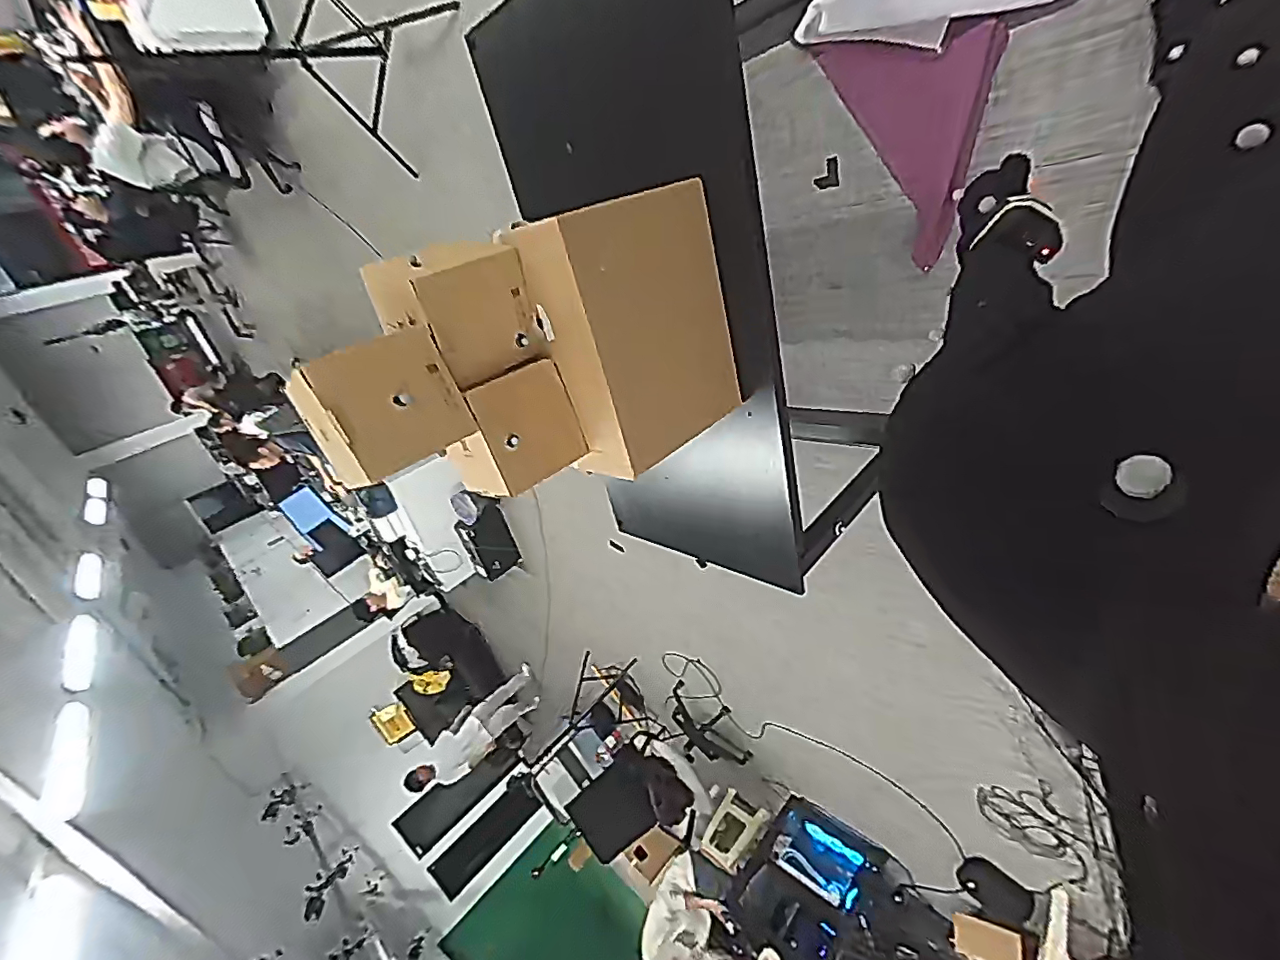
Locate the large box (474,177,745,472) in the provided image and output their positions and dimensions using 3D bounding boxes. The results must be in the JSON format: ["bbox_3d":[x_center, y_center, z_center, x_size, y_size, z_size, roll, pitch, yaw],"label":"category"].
[{"bbox_3d":[-0.052,-0.271,0.978,0.320,0.320,0.408,11,126,46],"label":"large box"}]

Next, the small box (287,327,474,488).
[{"bbox_3d":[-0.365,-0.102,0.776,0.179,0.176,0.168,-4,115,52],"label":"small box"}]

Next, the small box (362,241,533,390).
[{"bbox_3d":[-0.284,-0.260,0.833,0.179,0.176,0.168,25,137,39],"label":"small box"}]
